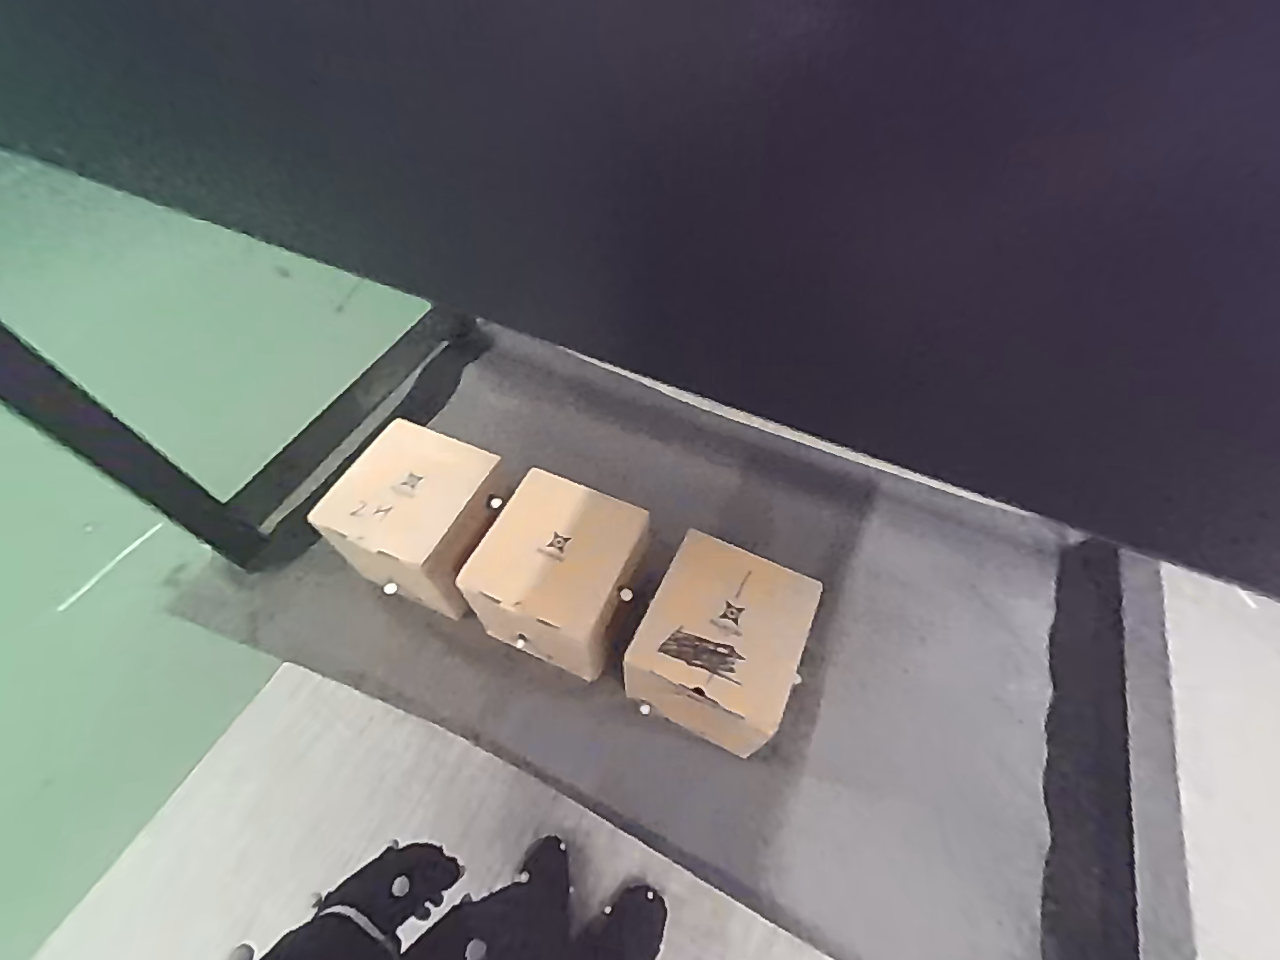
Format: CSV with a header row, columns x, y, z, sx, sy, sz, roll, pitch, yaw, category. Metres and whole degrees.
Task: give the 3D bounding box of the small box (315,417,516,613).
x,y,z,sx,sy,sz,roll,pitch,yaw,category
-0.286,0.051,0.739,0.168,0.176,0.179,20,58,12,small box
